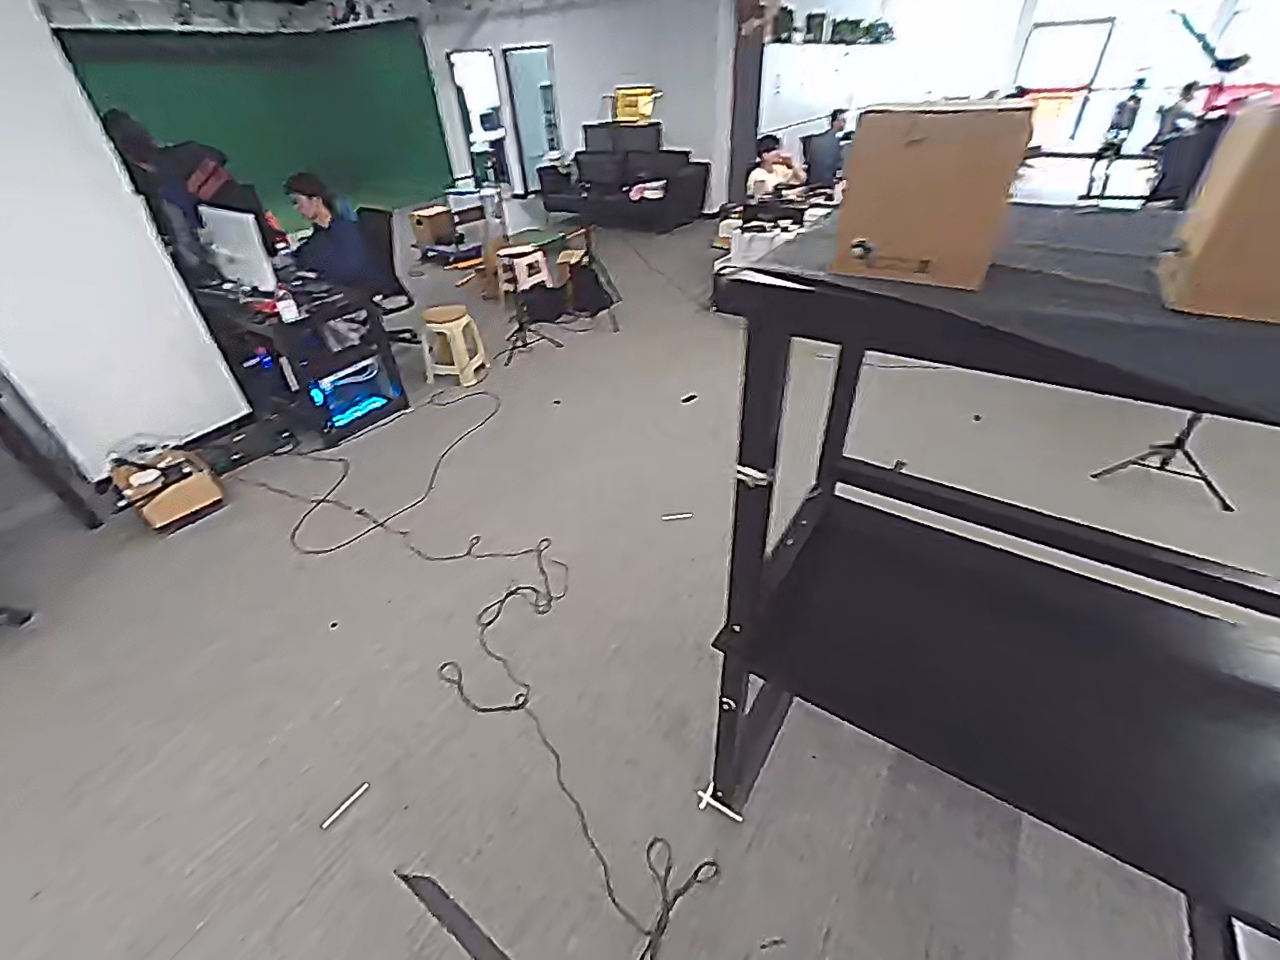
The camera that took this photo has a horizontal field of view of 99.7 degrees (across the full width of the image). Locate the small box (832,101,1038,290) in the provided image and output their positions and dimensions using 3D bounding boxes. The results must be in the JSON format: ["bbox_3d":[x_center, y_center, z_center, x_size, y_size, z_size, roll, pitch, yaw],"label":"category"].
[{"bbox_3d":[0.338,-0.336,0.636,0.168,0.176,0.179,19,42,26],"label":"small box"}]
